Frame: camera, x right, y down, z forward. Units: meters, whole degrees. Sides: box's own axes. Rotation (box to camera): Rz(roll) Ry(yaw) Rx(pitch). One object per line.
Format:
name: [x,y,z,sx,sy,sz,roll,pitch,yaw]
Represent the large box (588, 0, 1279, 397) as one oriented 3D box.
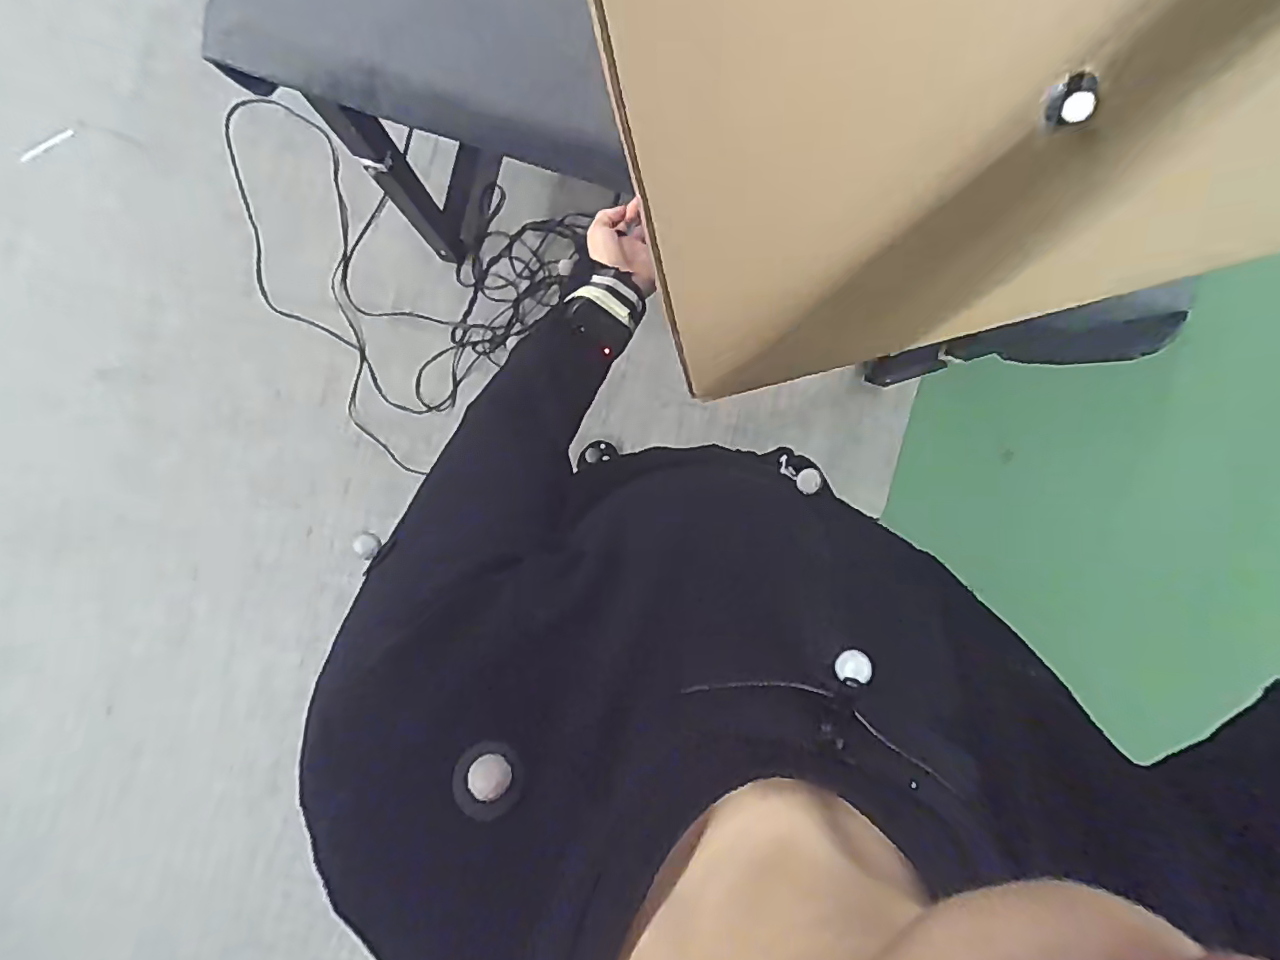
large box: [0.182,-0.312,0.352,0.408,0.320,0.320,-16,52,7]
